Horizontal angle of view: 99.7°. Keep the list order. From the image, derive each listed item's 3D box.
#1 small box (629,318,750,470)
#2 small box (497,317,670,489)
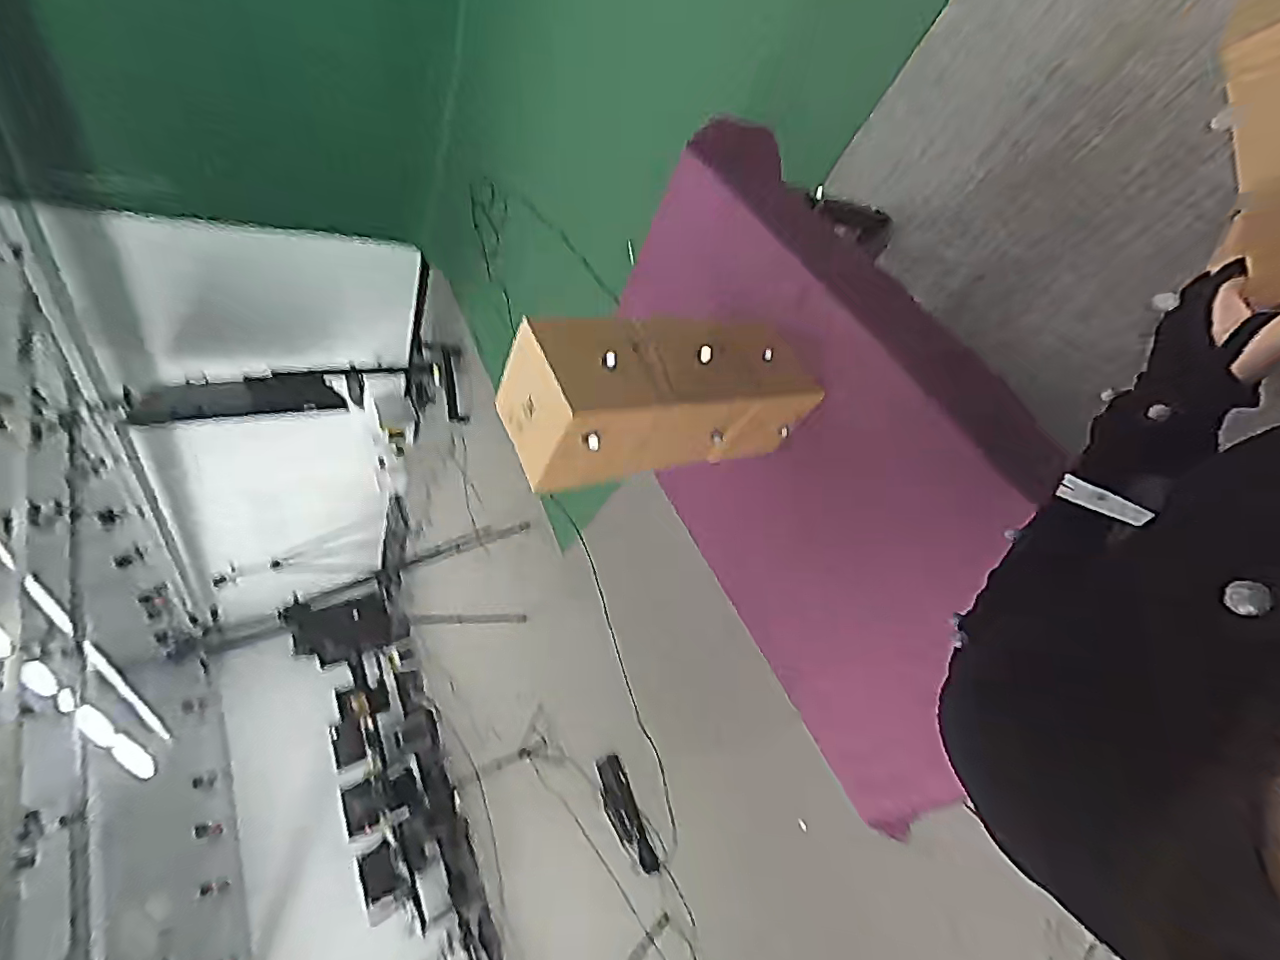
[{"bbox_3d":[0.051,-0.139,0.870,0.179,0.176,0.168,-50,59,47],"label":"small box"},{"bbox_3d":[-0.080,-0.113,0.772,0.168,0.176,0.179,62,142,22],"label":"small box"}]
